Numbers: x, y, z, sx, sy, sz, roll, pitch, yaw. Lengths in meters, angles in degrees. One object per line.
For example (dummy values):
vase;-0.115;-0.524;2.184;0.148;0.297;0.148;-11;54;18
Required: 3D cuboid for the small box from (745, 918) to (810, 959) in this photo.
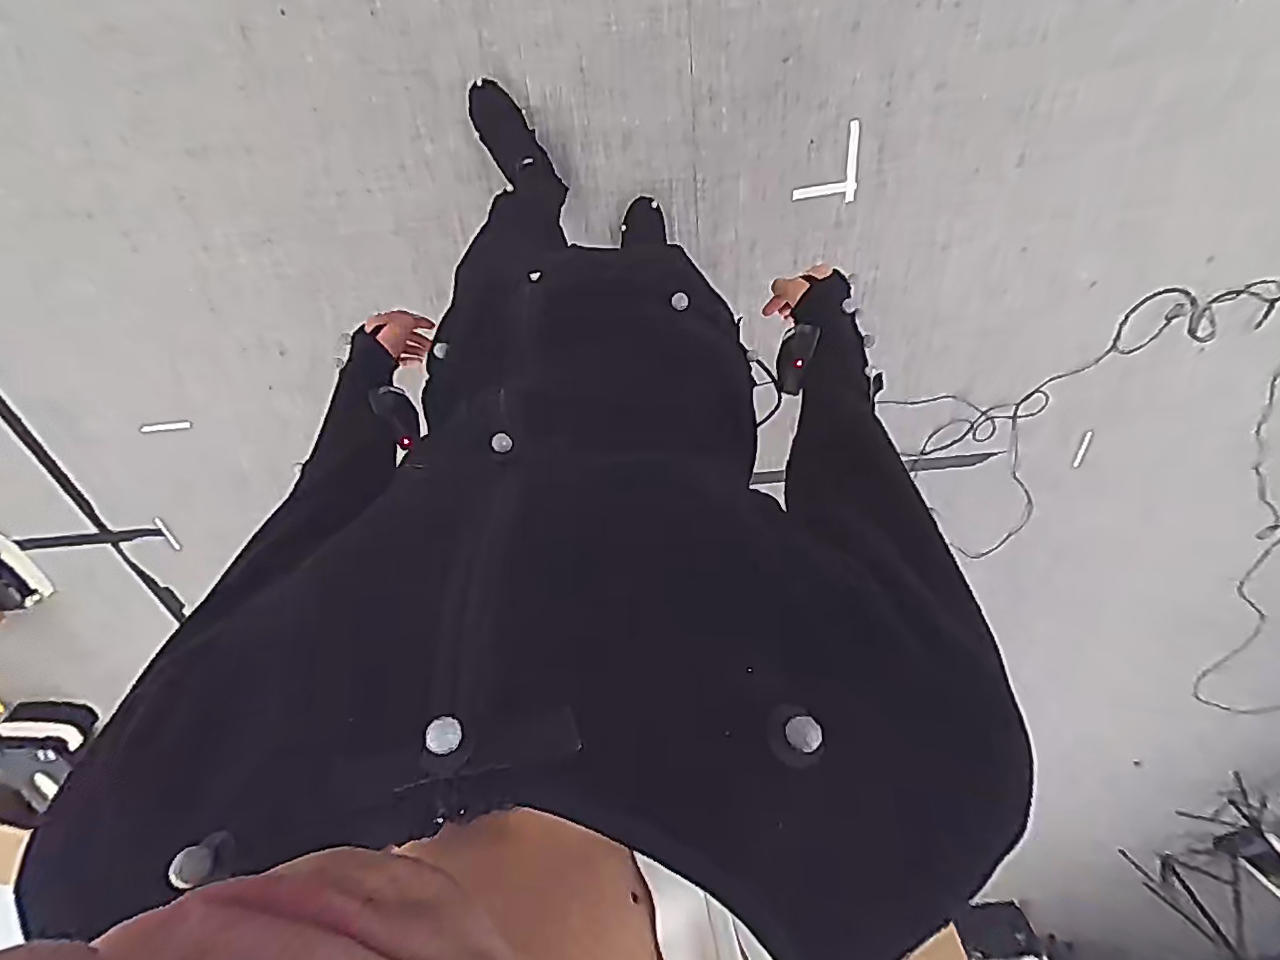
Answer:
small box;0.428;1.477;1.662;0.179;0.176;0.168;-8;124;2
